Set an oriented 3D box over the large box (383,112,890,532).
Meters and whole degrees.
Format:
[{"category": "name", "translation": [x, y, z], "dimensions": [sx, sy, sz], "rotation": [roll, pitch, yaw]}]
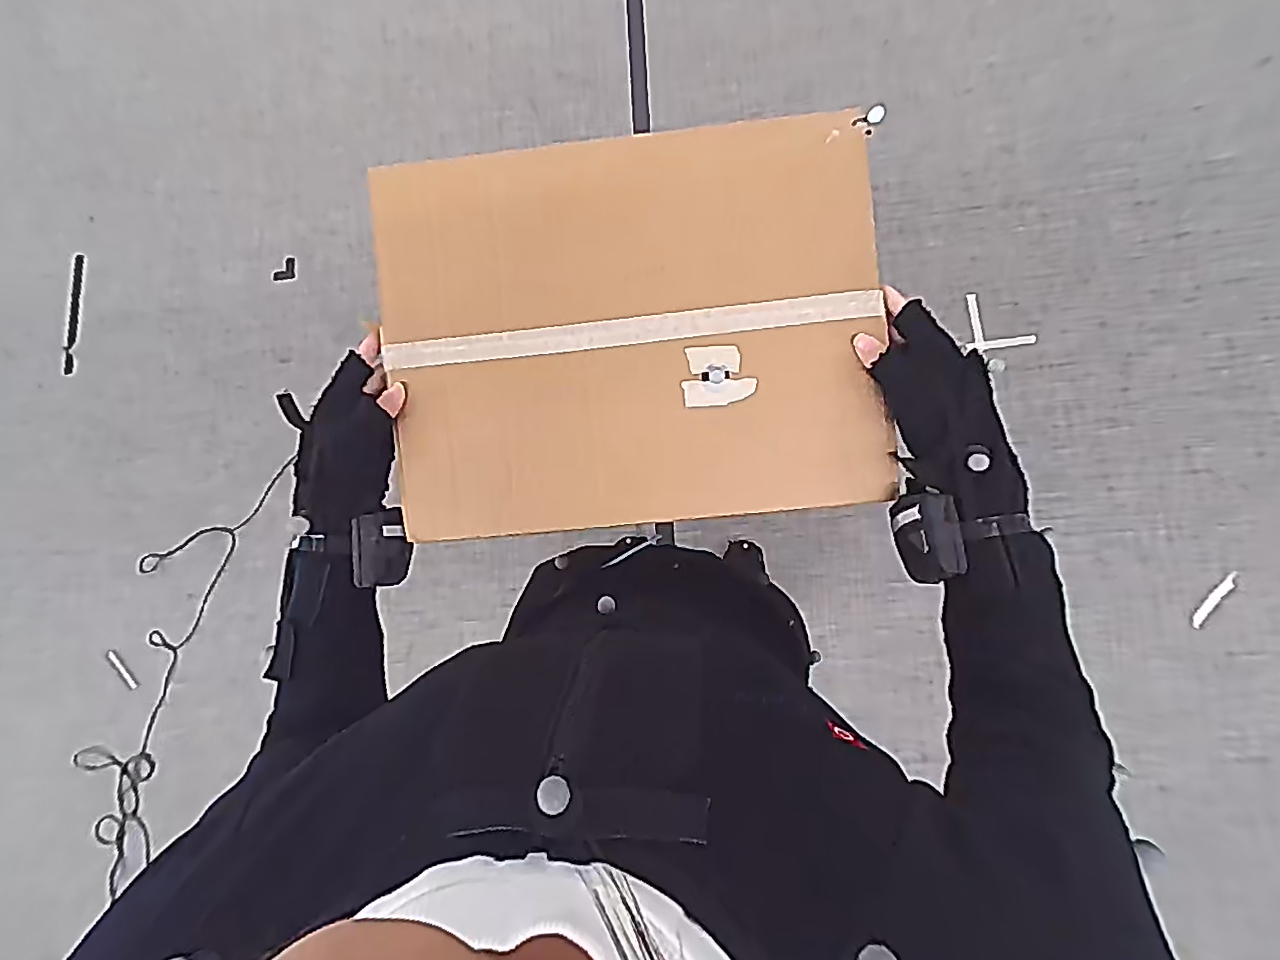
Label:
[{"category": "large box", "translation": [-0.002, -0.131, 0.600], "dimensions": [0.408, 0.320, 0.320], "rotation": [-6, 92, 2]}]
